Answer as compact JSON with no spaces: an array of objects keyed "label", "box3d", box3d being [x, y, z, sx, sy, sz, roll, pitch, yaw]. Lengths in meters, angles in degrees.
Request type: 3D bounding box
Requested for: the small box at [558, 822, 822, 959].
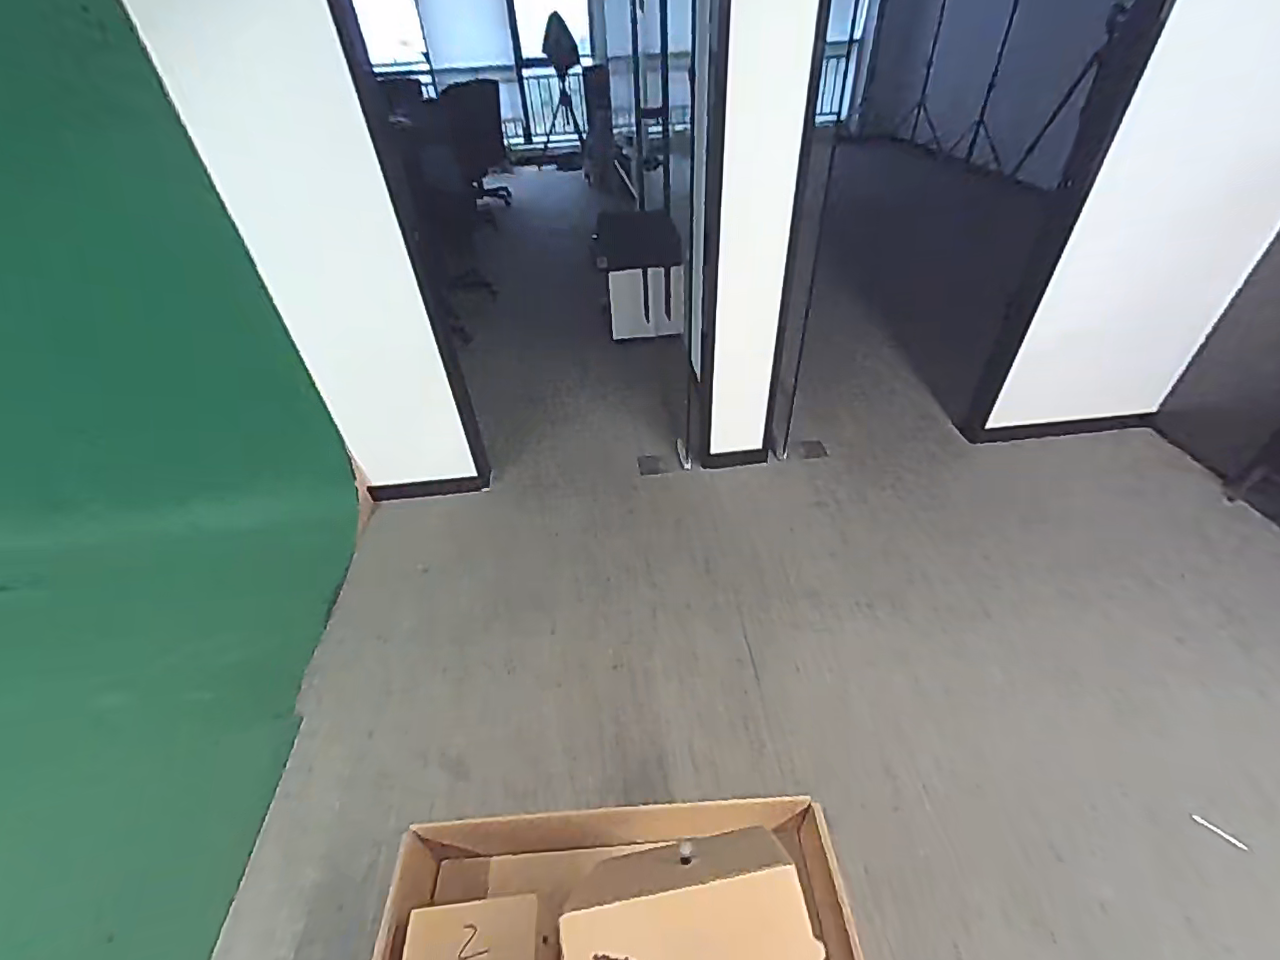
[{"label":"small box","box3d":[0.049,0.390,0.422,0.179,0.176,0.168,-13,66,-1]}]
